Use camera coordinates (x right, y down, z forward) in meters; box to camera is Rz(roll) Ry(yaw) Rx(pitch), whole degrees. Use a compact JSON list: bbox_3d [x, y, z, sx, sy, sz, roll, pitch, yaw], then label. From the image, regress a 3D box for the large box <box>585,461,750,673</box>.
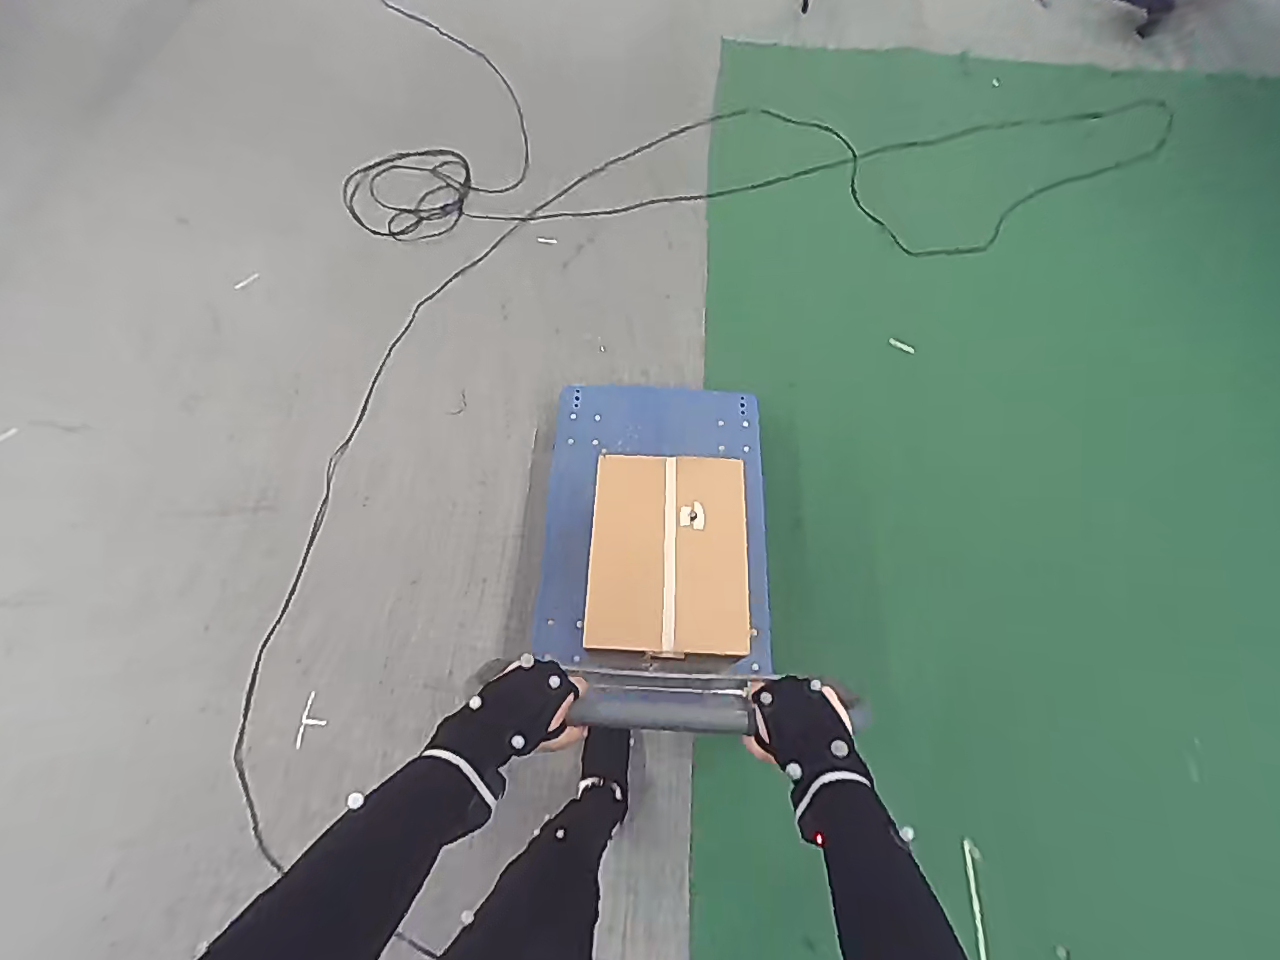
[{"bbox_3d":[0.056,0.208,1.218,0.320,0.320,0.408,3,64,0],"label":"large box"}]
